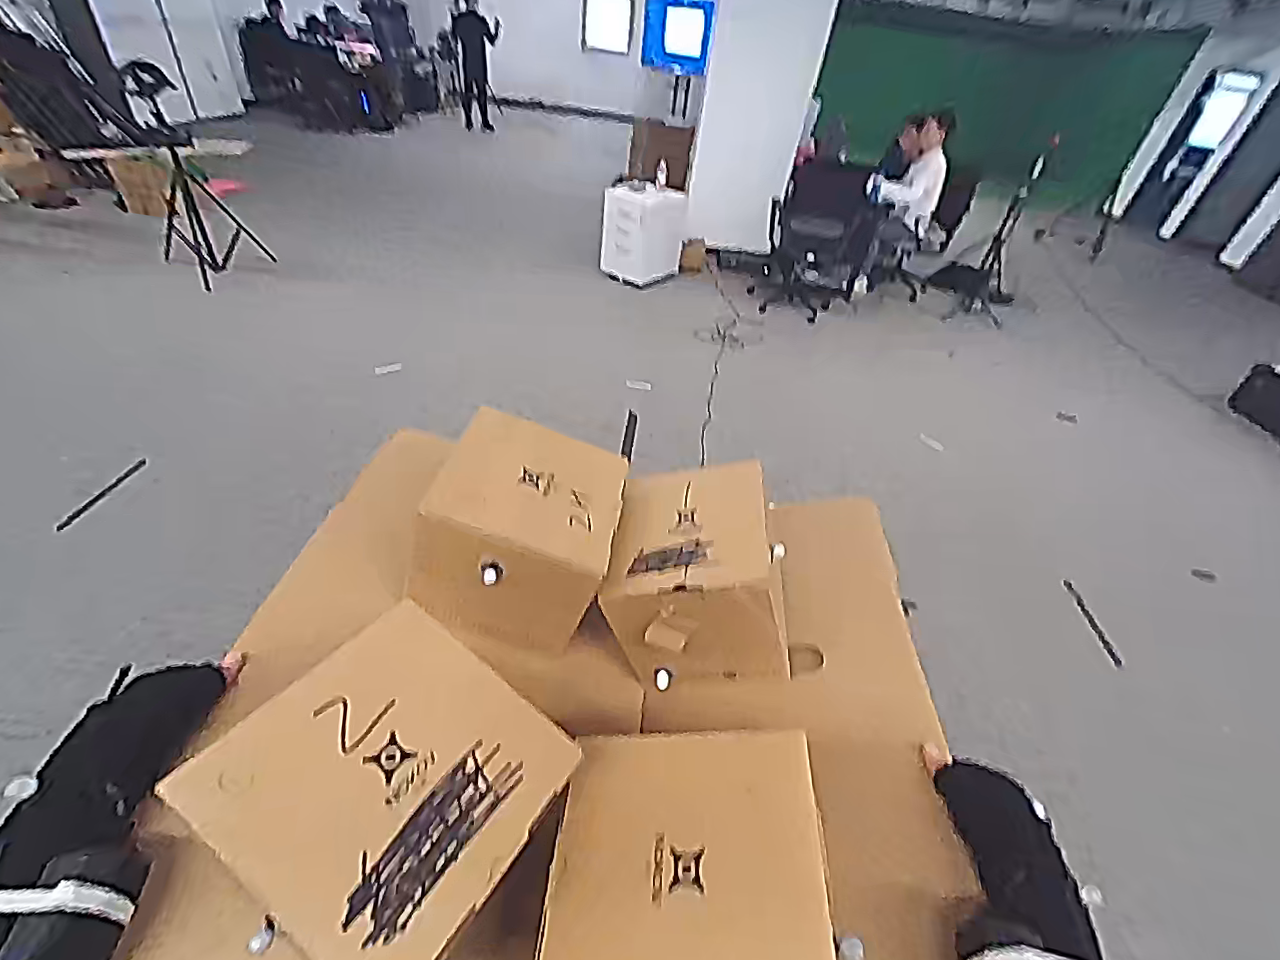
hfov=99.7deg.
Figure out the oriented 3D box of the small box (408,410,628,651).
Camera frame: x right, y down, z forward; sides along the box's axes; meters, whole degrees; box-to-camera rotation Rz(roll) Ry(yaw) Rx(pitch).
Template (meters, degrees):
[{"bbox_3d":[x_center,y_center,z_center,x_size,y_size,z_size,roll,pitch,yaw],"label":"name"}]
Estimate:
[{"bbox_3d":[-0.132,0.060,0.589,0.179,0.176,0.168,21,41,-9],"label":"small box"}]
